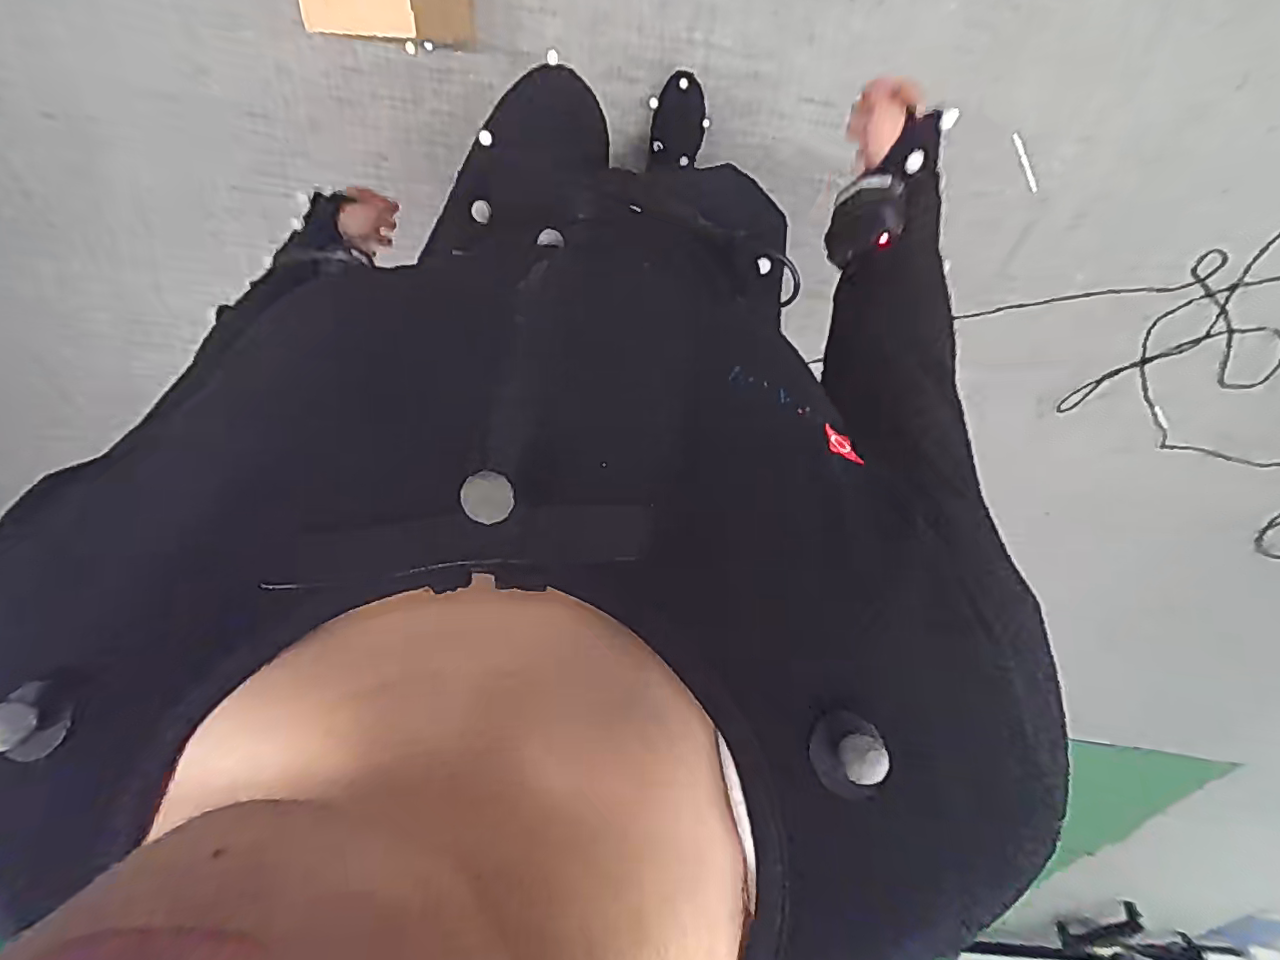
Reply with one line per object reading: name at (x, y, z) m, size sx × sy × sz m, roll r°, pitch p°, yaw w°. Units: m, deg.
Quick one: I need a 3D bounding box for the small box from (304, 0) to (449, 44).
small box at (-0.419, -0.806, 0.859) m, size 0.179 × 0.176 × 0.168 m, roll 4°, pitch 126°, yaw 2°

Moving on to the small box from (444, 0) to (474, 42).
small box at (-0.411, -0.913, 0.983) m, size 0.179 × 0.176 × 0.168 m, roll 5°, pitch 127°, yaw -1°
